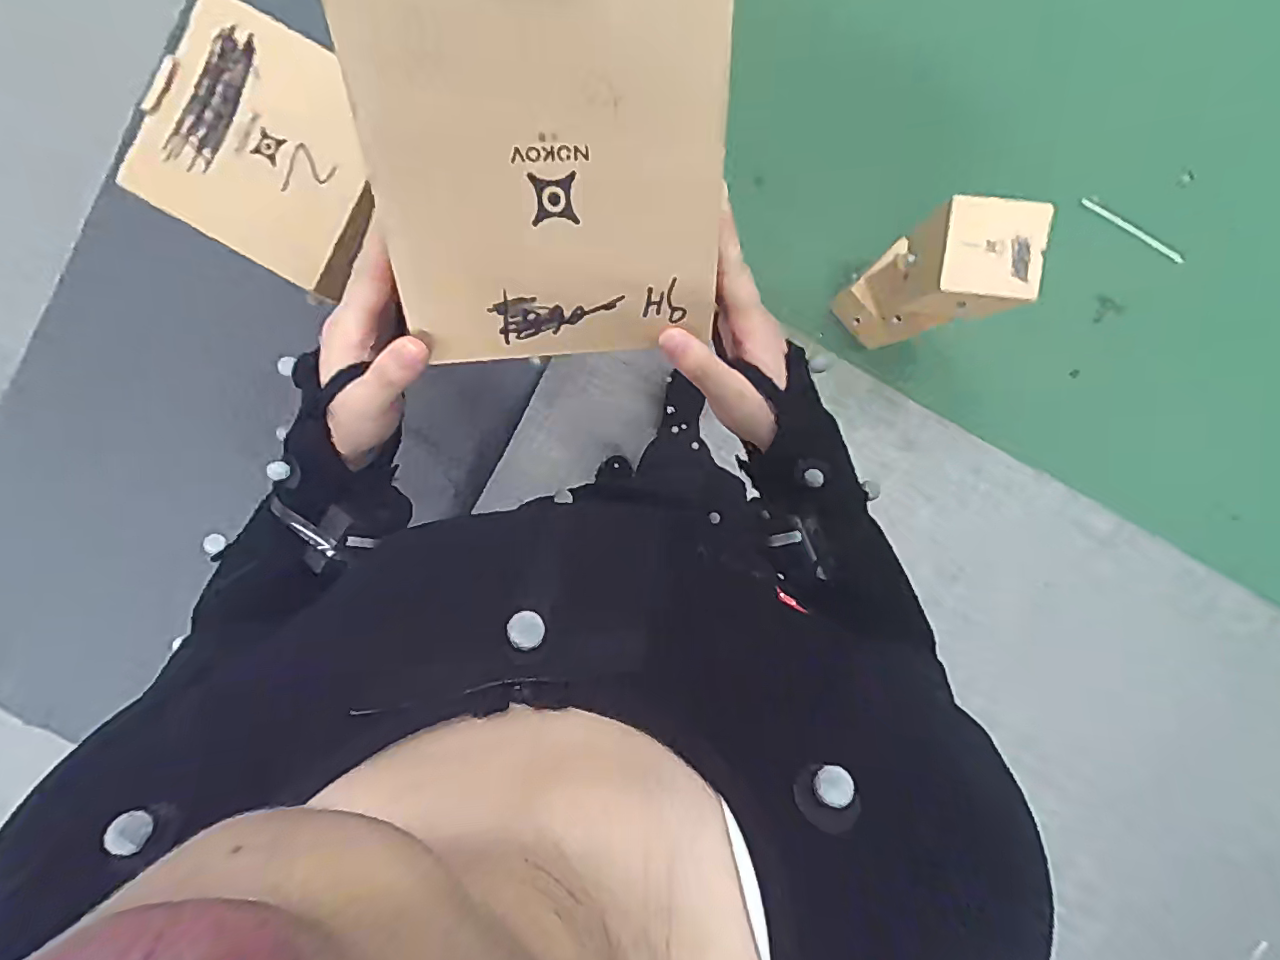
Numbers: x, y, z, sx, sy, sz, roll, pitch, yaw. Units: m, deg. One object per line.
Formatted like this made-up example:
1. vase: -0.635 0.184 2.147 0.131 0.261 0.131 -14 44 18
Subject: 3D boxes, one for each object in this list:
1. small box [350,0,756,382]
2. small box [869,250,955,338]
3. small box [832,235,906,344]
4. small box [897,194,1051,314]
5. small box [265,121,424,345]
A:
1. small box: -0.046 -0.176 0.320 0.168 0.176 0.179 -6 125 -9
2. small box: 0.631 -0.428 1.191 0.179 0.176 0.168 -24 96 2
3. small box: 0.608 -0.463 1.351 0.179 0.176 0.168 -45 94 4
4. small box: 0.621 -0.418 1.027 0.179 0.176 0.168 6 96 1
5. small box: -0.282 -0.268 0.645 0.179 0.176 0.168 29 95 0
